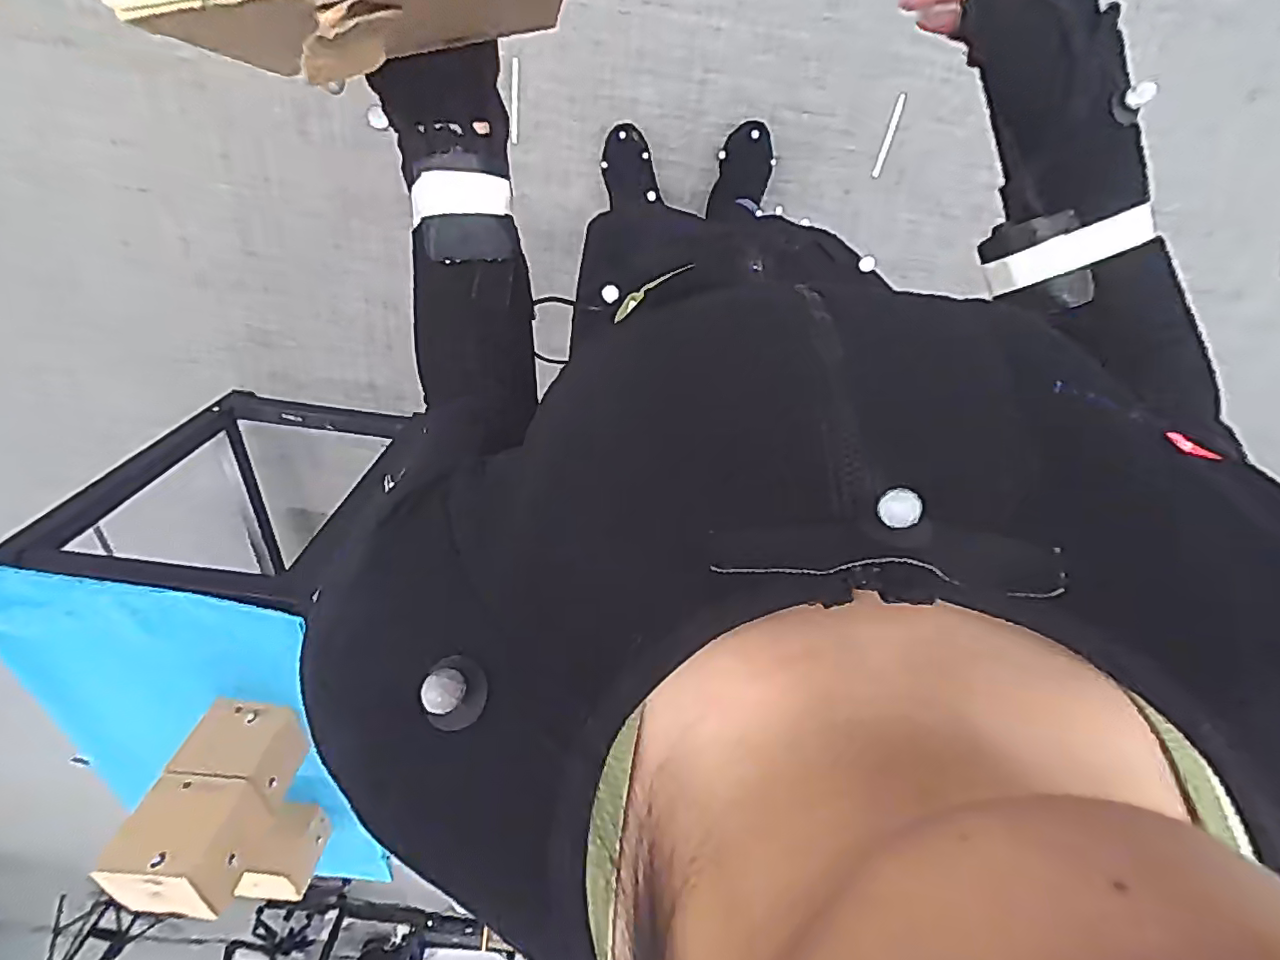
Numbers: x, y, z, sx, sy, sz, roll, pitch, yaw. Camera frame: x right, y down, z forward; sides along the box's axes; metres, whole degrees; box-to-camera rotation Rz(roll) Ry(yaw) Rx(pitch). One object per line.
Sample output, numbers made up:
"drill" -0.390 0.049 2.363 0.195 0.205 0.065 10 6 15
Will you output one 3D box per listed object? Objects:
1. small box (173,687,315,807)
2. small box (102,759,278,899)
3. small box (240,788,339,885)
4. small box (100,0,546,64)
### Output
"small box" -0.845 0.582 1.179 0.168 0.176 0.179 7 125 -2
"small box" -0.845 0.669 1.041 0.168 0.176 0.179 4 124 1
"small box" -0.936 0.940 1.435 0.179 0.176 0.168 8 126 -5
"small box" -0.132 -0.287 0.211 0.168 0.176 0.179 -15 122 -4
